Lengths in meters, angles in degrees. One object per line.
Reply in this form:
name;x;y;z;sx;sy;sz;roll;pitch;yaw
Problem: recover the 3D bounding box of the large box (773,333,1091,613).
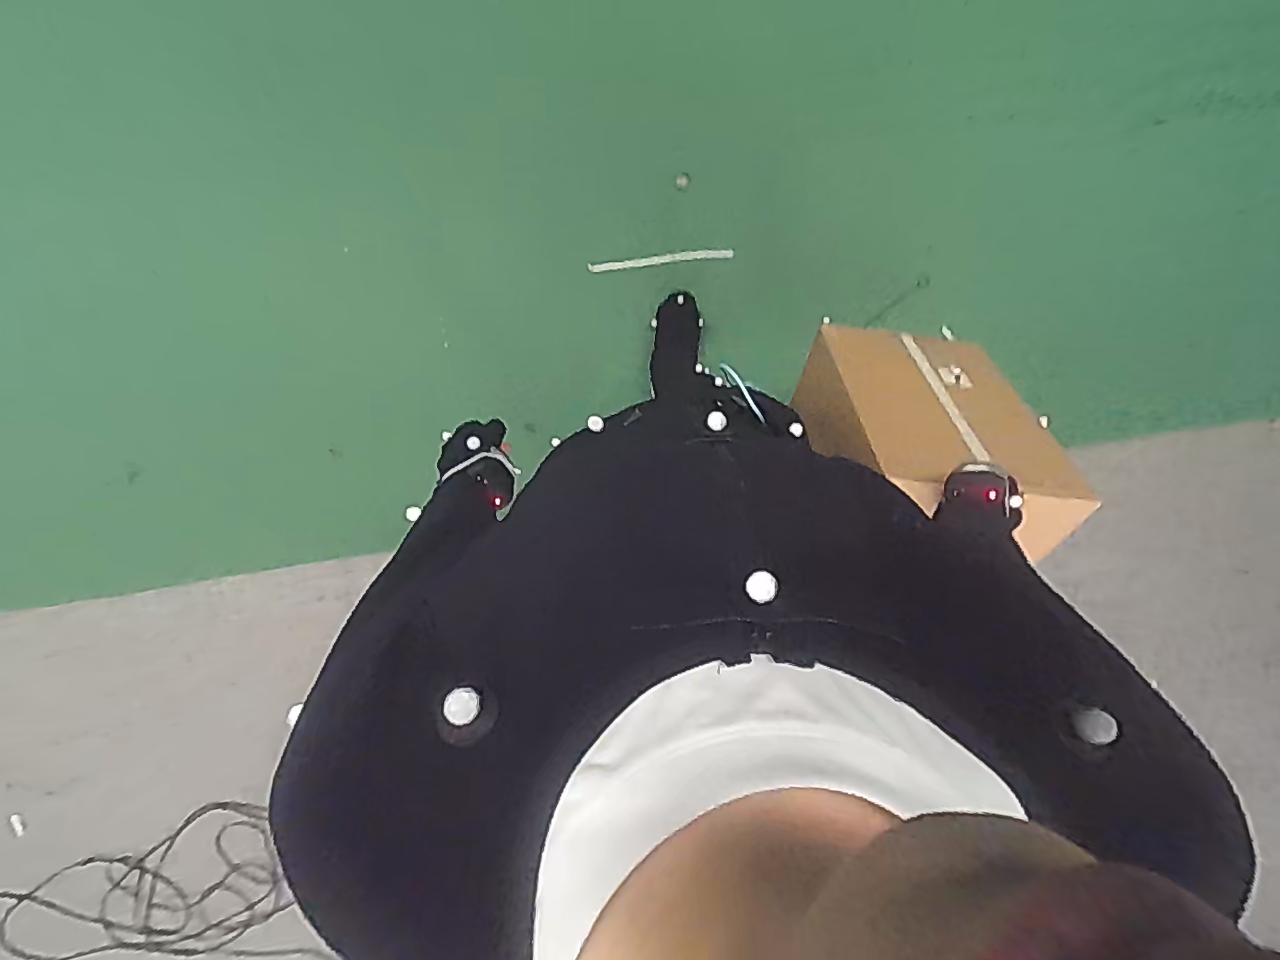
large box;0.459;-0.016;0.977;0.320;0.408;0.320;7;133;-5
